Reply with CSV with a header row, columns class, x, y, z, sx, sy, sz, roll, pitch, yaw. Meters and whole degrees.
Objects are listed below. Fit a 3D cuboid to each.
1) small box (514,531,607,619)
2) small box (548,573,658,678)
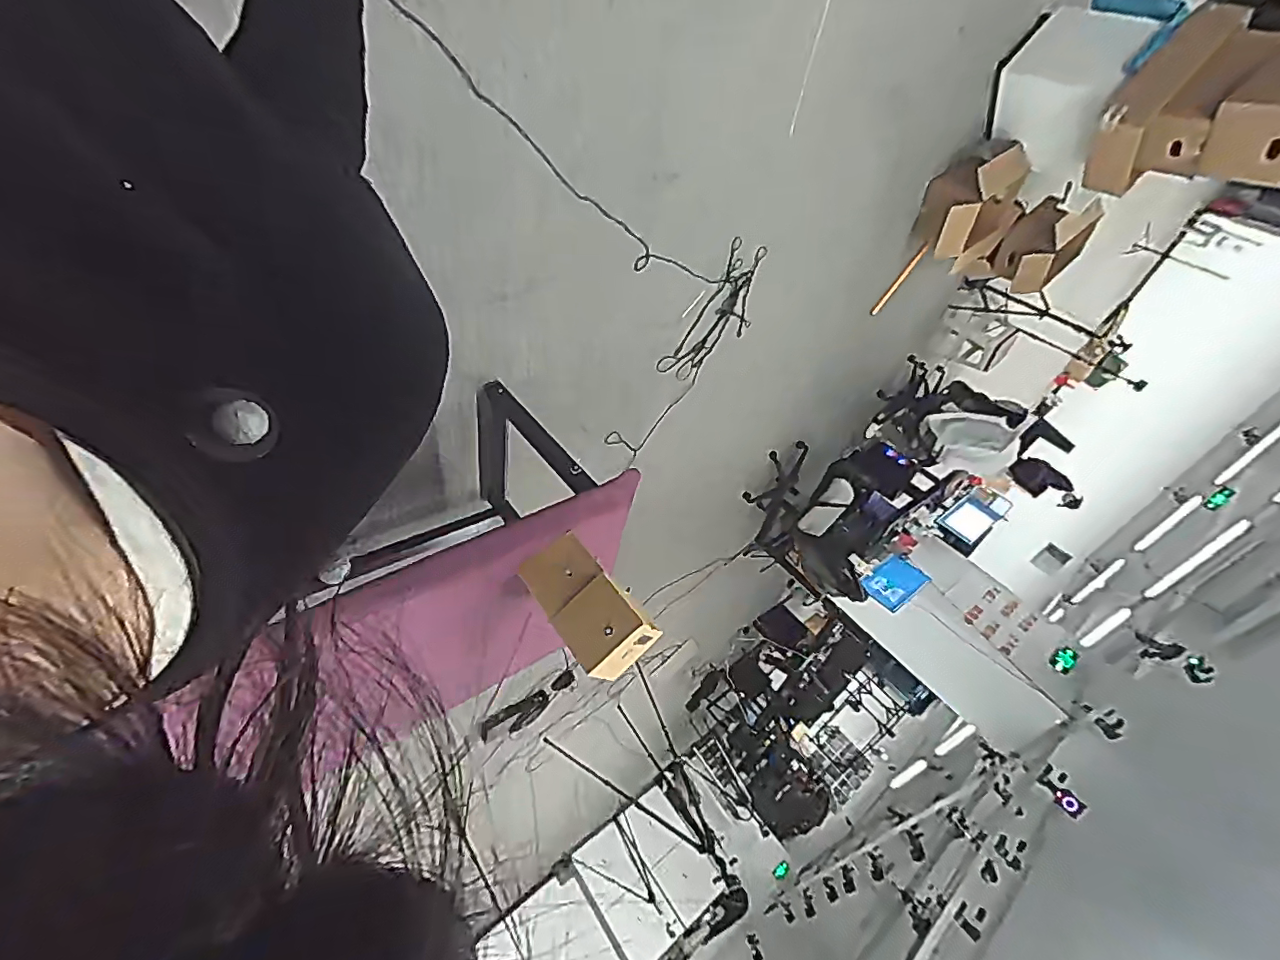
class,x,y,z,sx,sy,sz,roll,pitch,yaw
small box,-0.196,0.265,1.409,0.179,0.176,0.168,-38,149,-14
small box,-0.090,0.353,1.318,0.179,0.176,0.168,-43,150,-3
